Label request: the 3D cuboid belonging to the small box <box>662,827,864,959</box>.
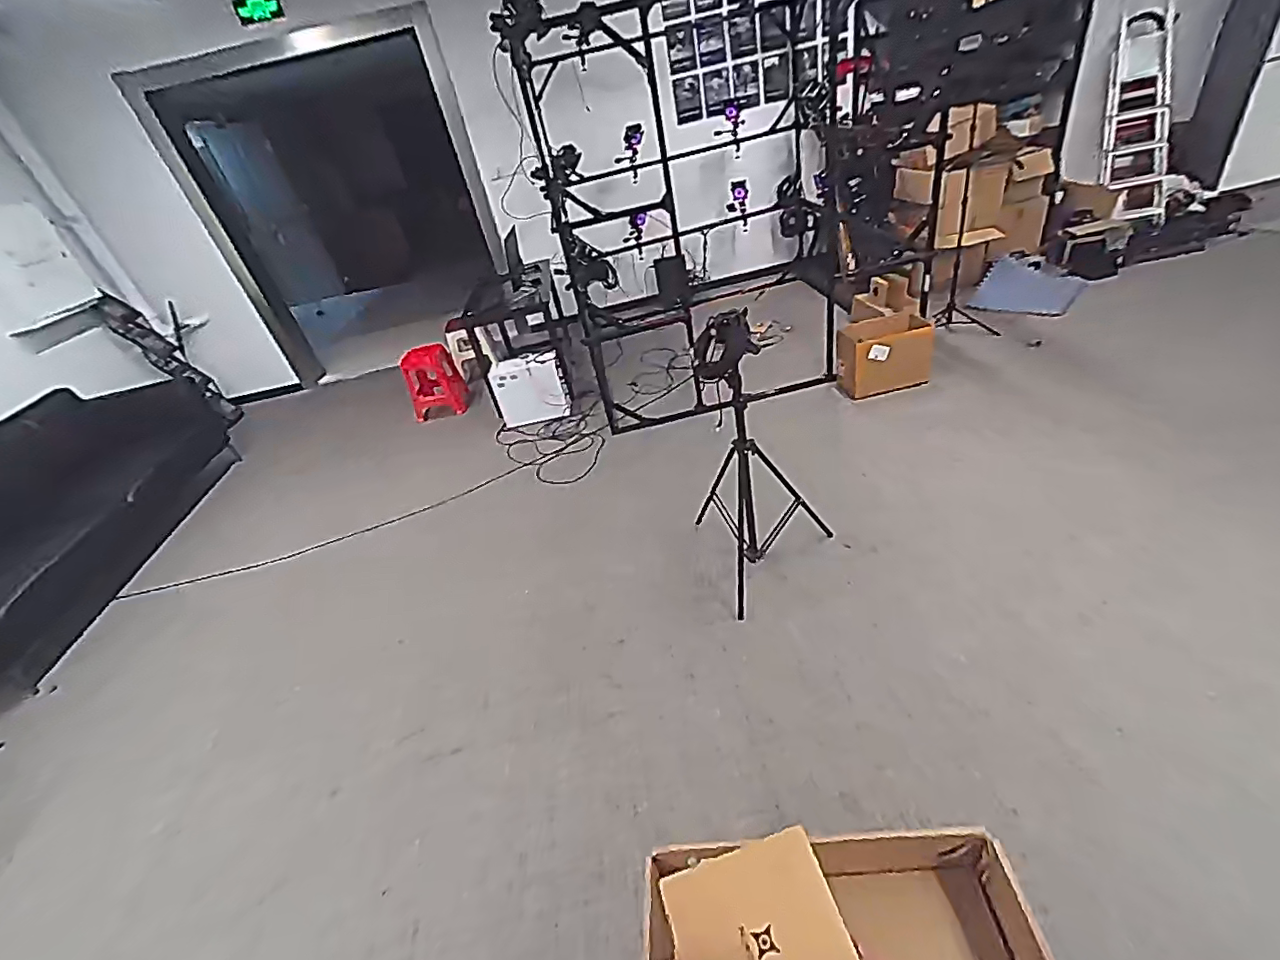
[{"bbox_3d":[0.144,0.521,0.602,0.179,0.176,0.168,-23,45,-1],"label":"small box"}]
